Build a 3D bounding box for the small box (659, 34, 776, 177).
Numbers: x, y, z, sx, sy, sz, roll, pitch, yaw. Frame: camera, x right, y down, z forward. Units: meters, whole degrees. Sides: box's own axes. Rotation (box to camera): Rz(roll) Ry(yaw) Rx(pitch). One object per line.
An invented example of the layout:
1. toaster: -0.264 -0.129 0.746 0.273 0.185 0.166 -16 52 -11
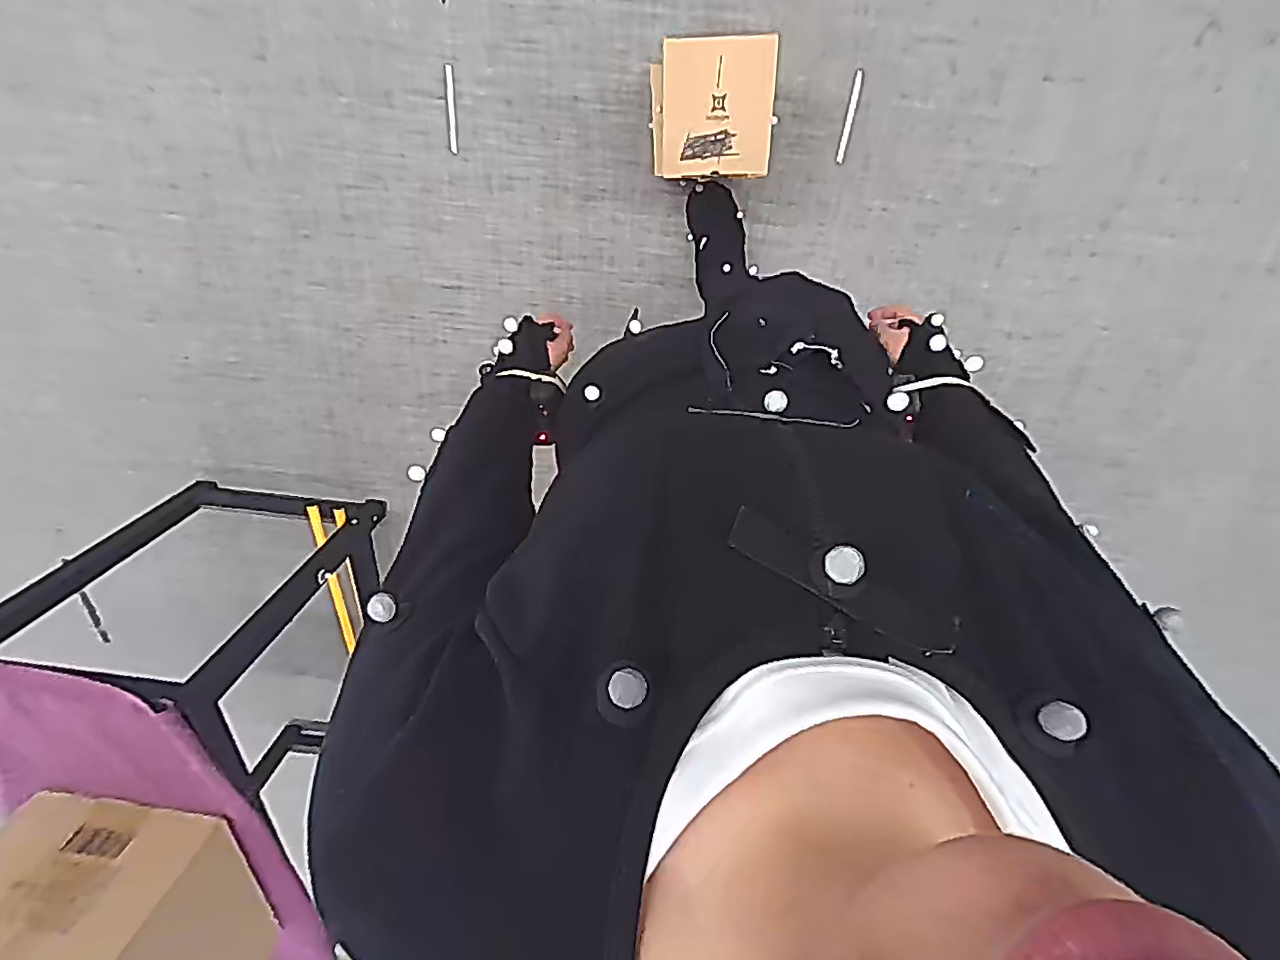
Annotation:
1. small box: 0.118 -0.593 0.874 0.168 0.176 0.179 1 119 4
